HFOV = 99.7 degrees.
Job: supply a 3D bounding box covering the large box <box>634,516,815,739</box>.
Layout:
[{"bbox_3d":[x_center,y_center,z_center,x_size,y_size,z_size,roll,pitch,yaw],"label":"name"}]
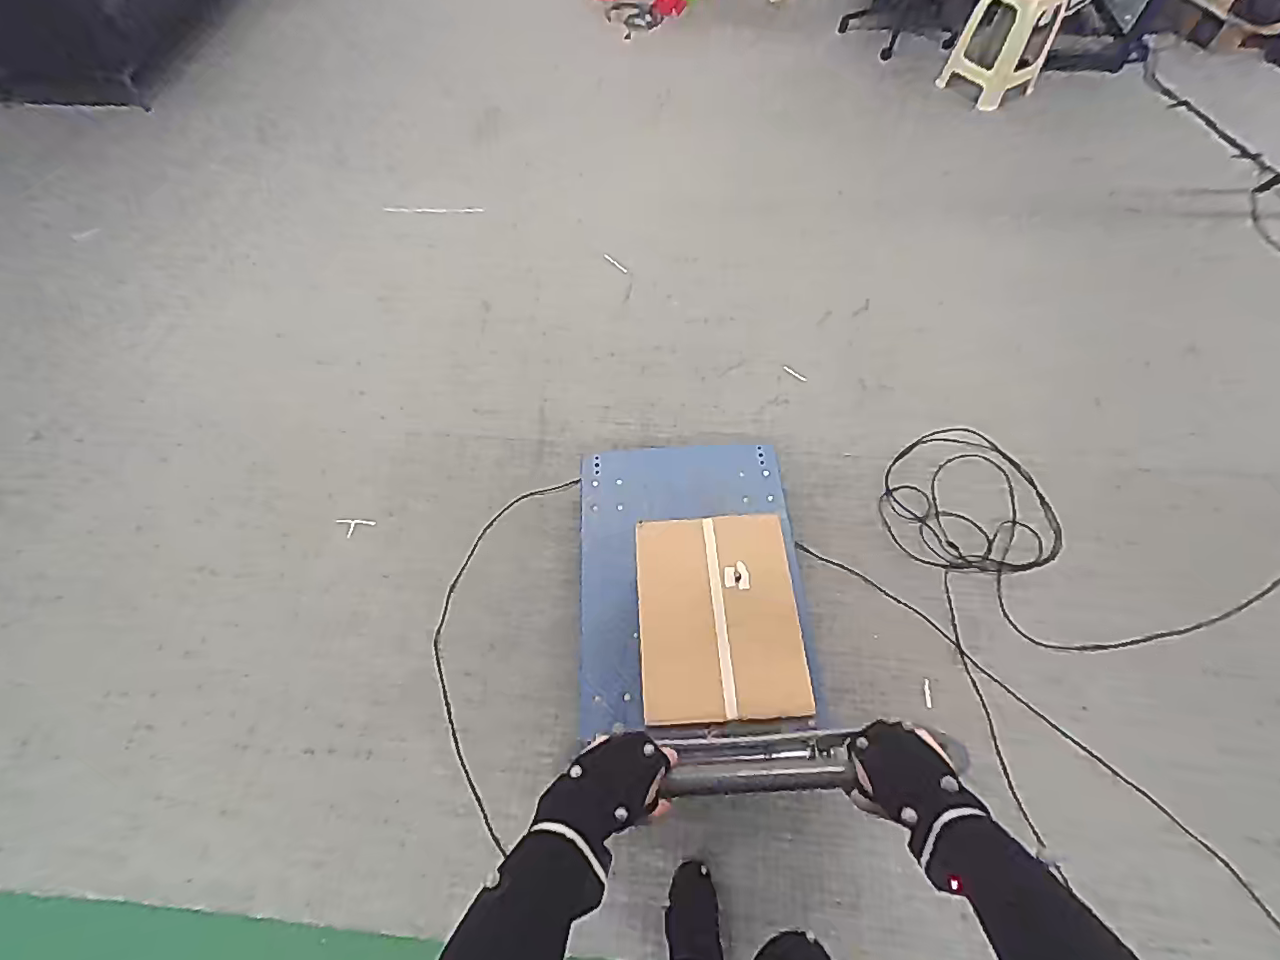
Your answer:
[{"bbox_3d":[0.159,0.335,1.204,0.320,0.320,0.408,-3,60,-1],"label":"large box"}]
